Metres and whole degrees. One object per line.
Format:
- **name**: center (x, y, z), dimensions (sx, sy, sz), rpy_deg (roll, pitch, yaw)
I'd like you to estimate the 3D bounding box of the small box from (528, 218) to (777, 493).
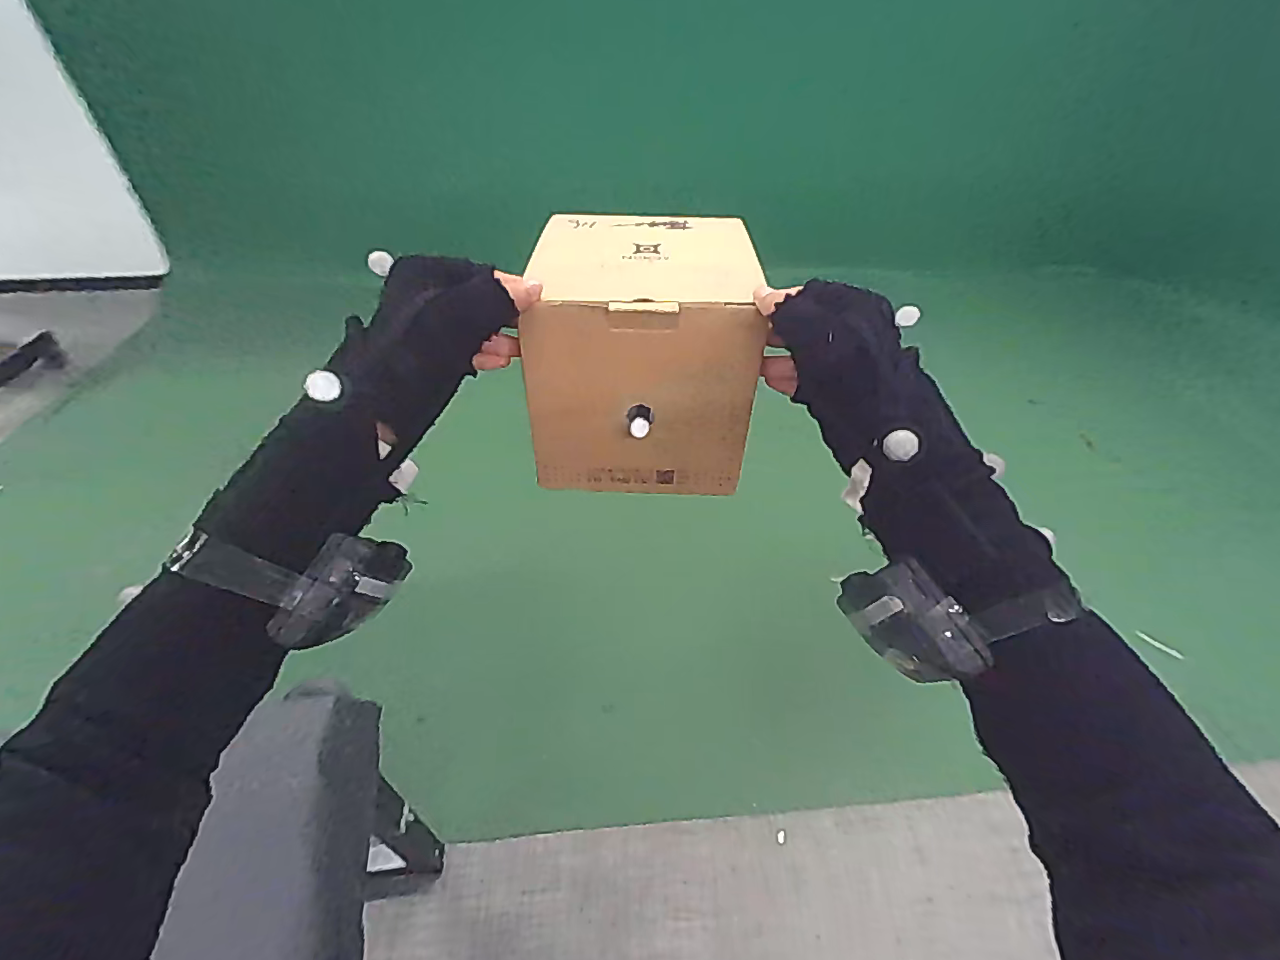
- **small box**: center (0.012, -0.106, 0.461), dimensions (0.168, 0.176, 0.179), rpy_deg (3, 43, 1)
